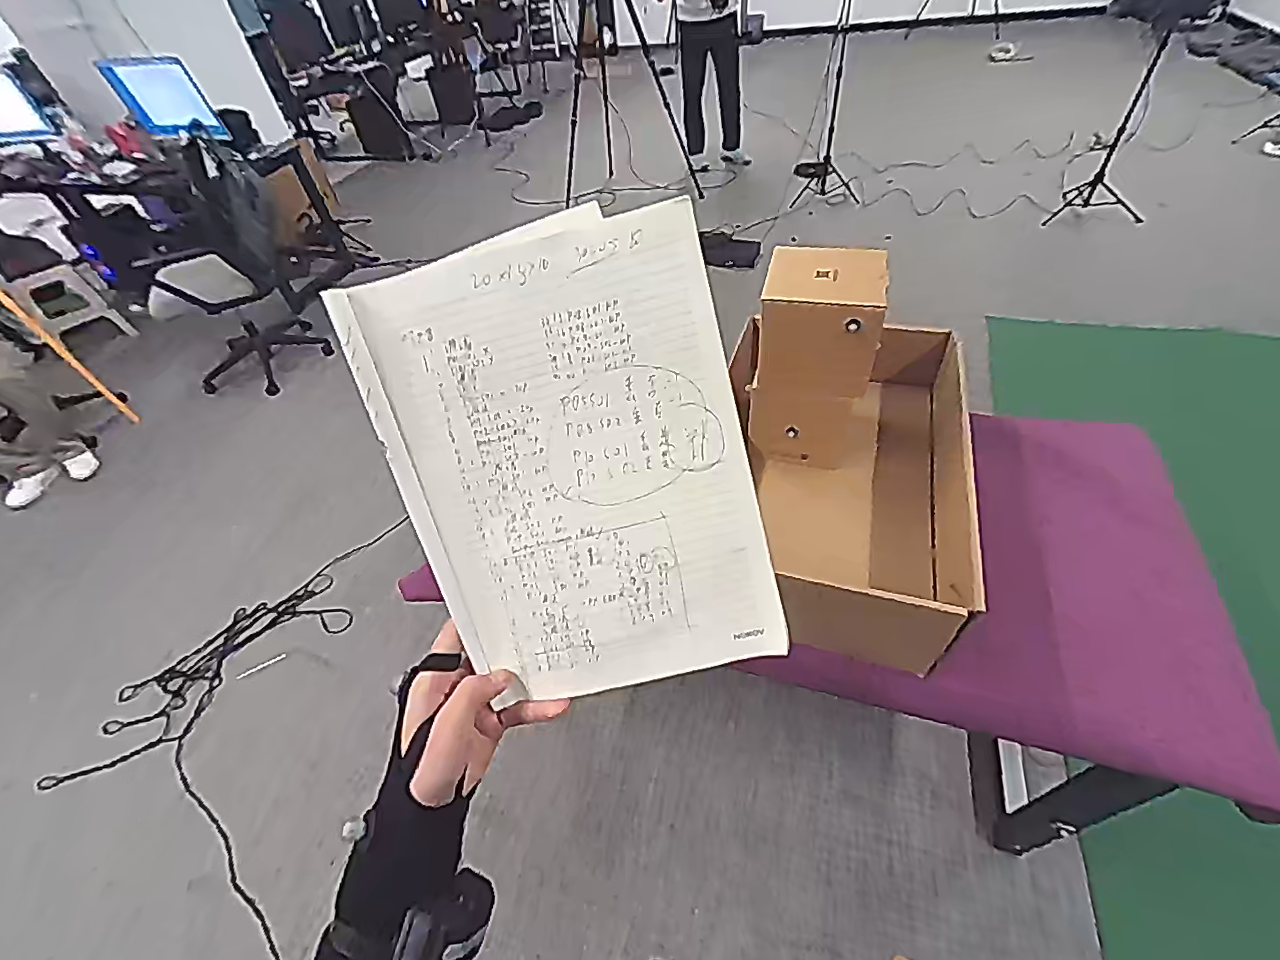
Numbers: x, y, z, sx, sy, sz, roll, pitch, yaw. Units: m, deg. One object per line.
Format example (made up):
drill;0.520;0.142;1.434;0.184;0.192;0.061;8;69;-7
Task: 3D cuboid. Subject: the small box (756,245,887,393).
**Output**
small box;0.286;-0.258;0.870;0.179;0.176;0.168;9;50;15

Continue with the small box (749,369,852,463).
small box;0.299;-0.153;0.992;0.168;0.176;0.179;11;51;17
